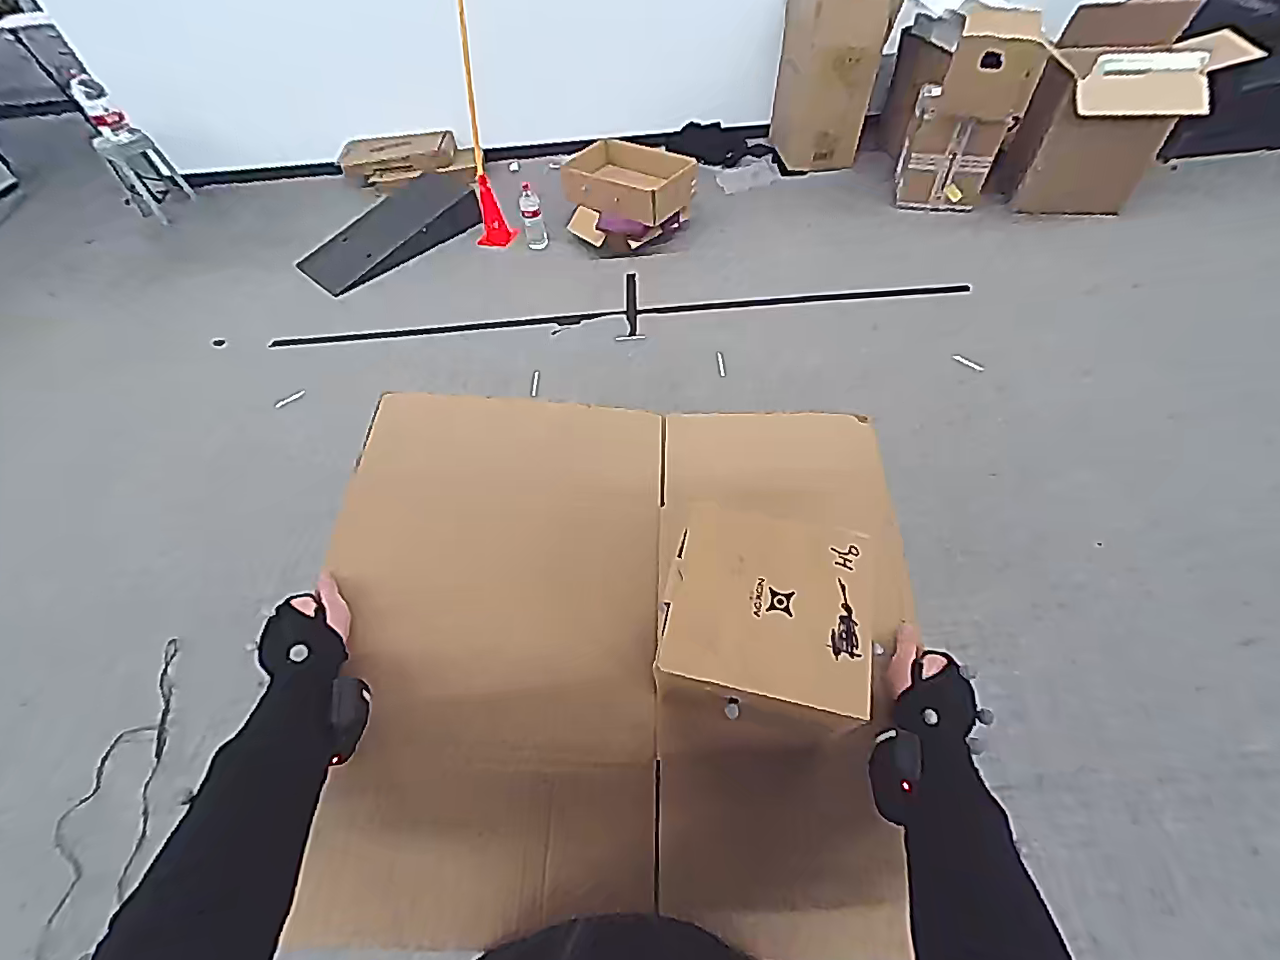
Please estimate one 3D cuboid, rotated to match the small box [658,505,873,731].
[{"bbox_3d":[0.125,0.147,0.557,0.179,0.176,0.168,10,61,11],"label":"small box"}]
